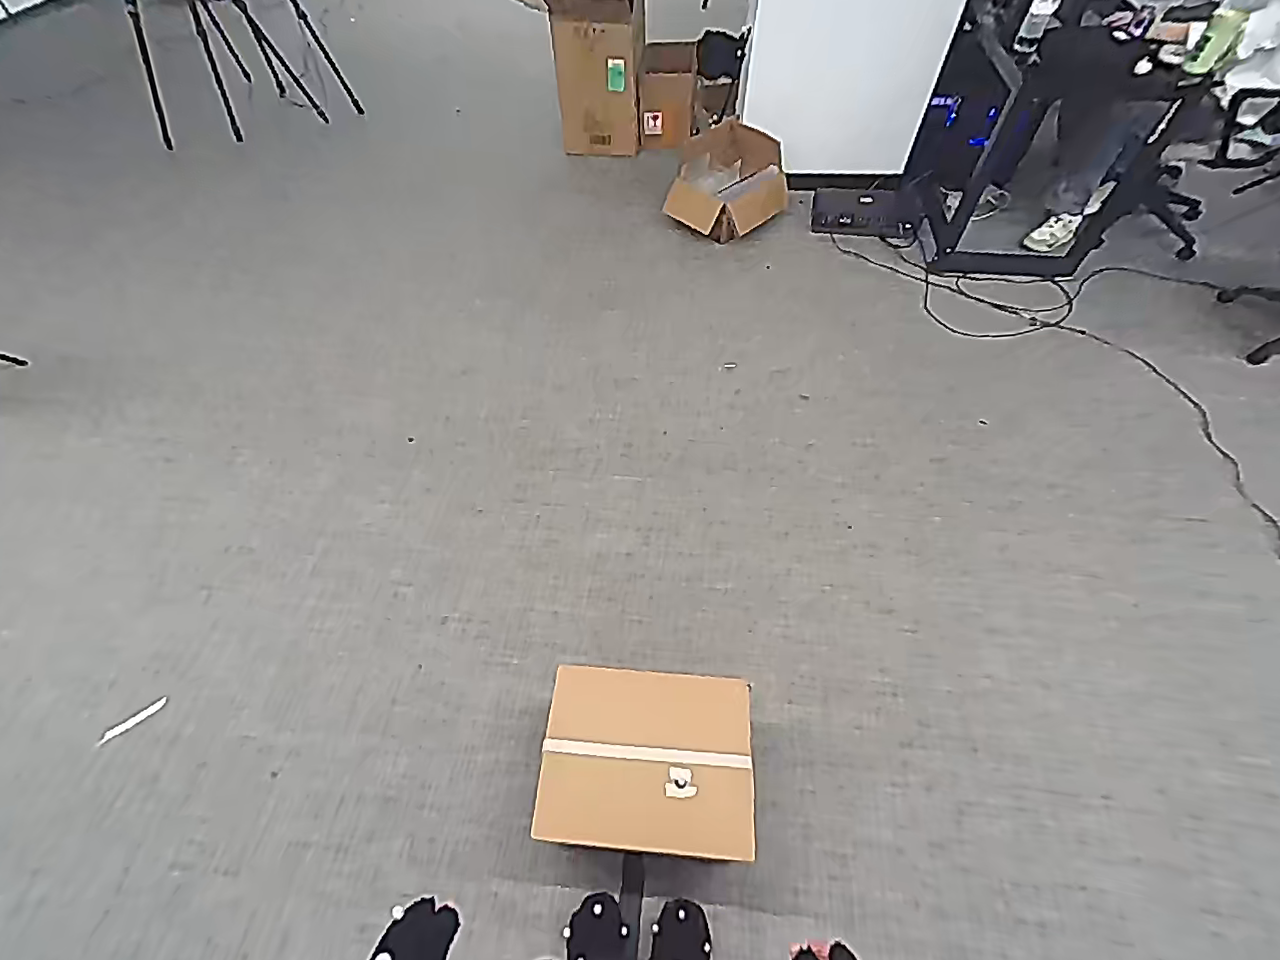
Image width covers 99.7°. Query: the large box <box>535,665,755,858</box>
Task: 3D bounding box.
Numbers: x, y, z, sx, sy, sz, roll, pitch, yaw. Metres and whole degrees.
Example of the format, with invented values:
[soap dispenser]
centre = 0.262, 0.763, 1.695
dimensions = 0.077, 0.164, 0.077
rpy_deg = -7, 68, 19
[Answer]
[large box]
centre = 0.016, 0.614, 1.169
dimensions = 0.408, 0.320, 0.320
rpy_deg = 4, 56, 3
